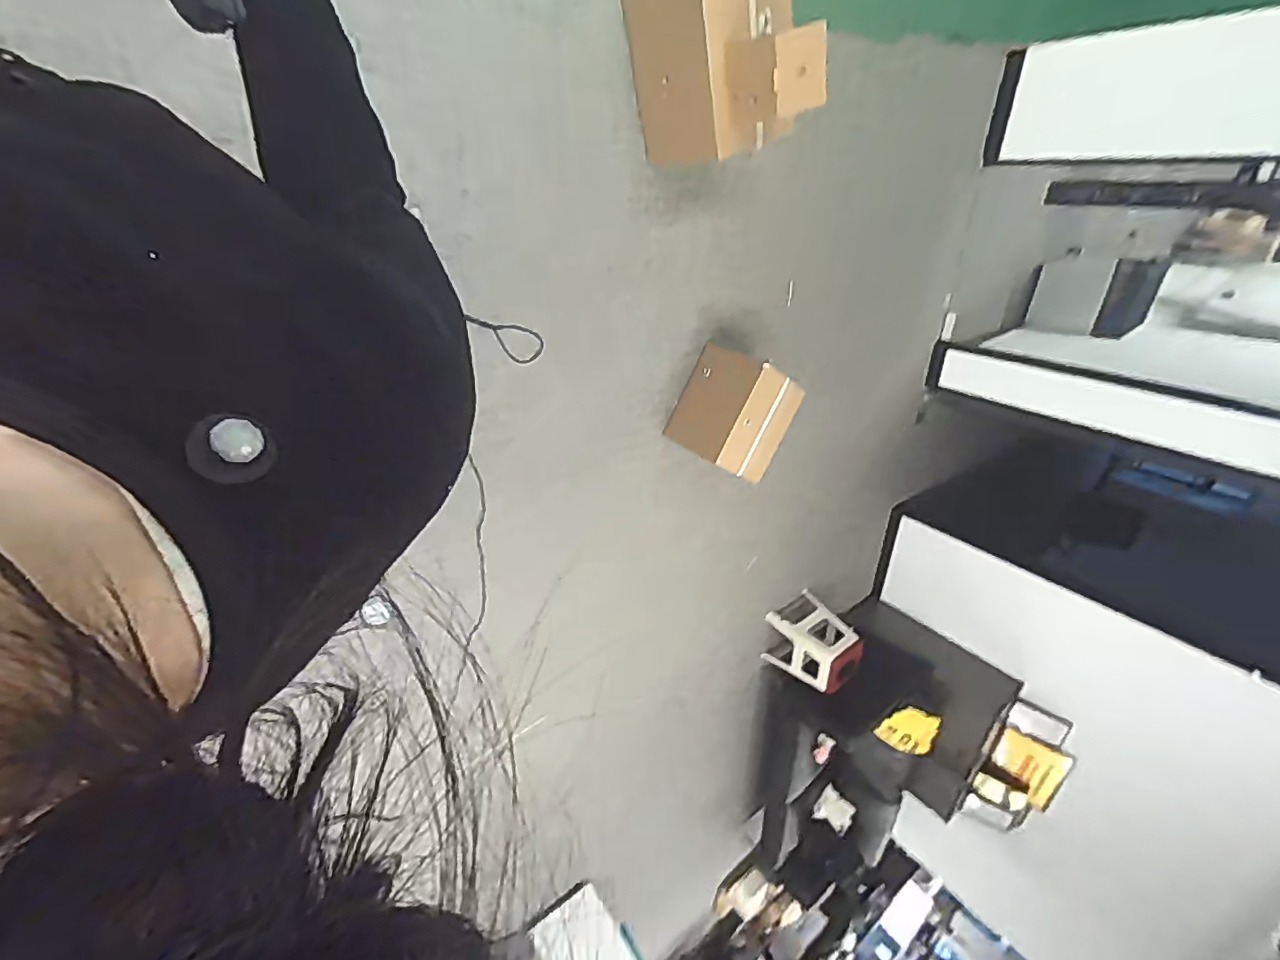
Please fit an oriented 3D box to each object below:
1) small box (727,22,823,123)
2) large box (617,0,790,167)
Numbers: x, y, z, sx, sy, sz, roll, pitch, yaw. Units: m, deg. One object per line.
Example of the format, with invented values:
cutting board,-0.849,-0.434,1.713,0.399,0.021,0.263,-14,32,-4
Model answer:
small box,0.329,-0.999,1.337,0.179,0.176,0.168,-33,131,-23
large box,0.182,-1.133,1.488,0.320,0.320,0.408,-34,130,-24
